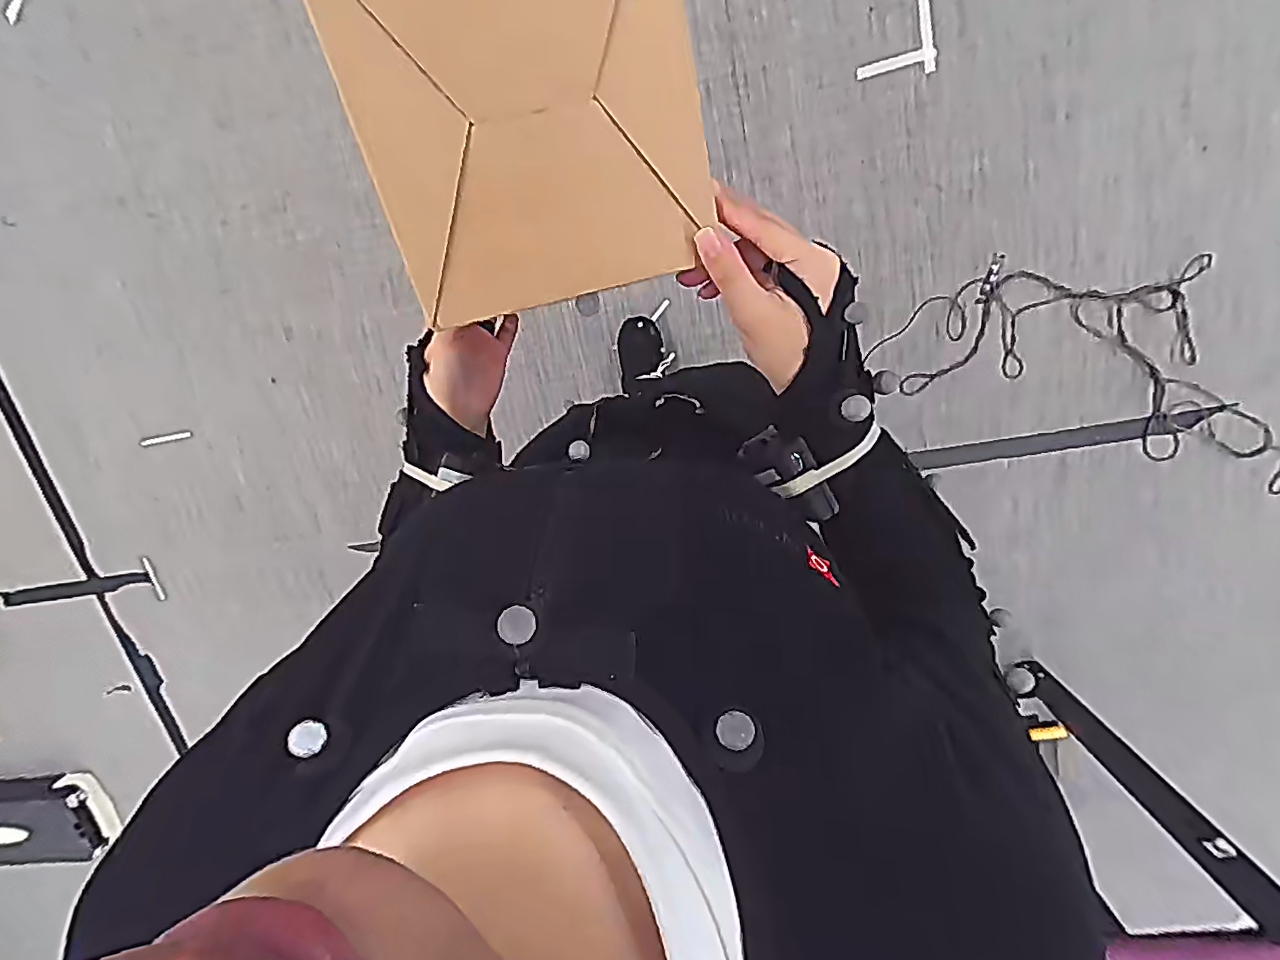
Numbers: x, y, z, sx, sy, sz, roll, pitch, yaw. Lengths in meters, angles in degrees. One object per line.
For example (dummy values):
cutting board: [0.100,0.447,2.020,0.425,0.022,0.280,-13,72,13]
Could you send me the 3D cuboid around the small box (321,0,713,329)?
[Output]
small box: [-0.063,-0.207,0.335,0.168,0.176,0.179,-15,114,-4]
